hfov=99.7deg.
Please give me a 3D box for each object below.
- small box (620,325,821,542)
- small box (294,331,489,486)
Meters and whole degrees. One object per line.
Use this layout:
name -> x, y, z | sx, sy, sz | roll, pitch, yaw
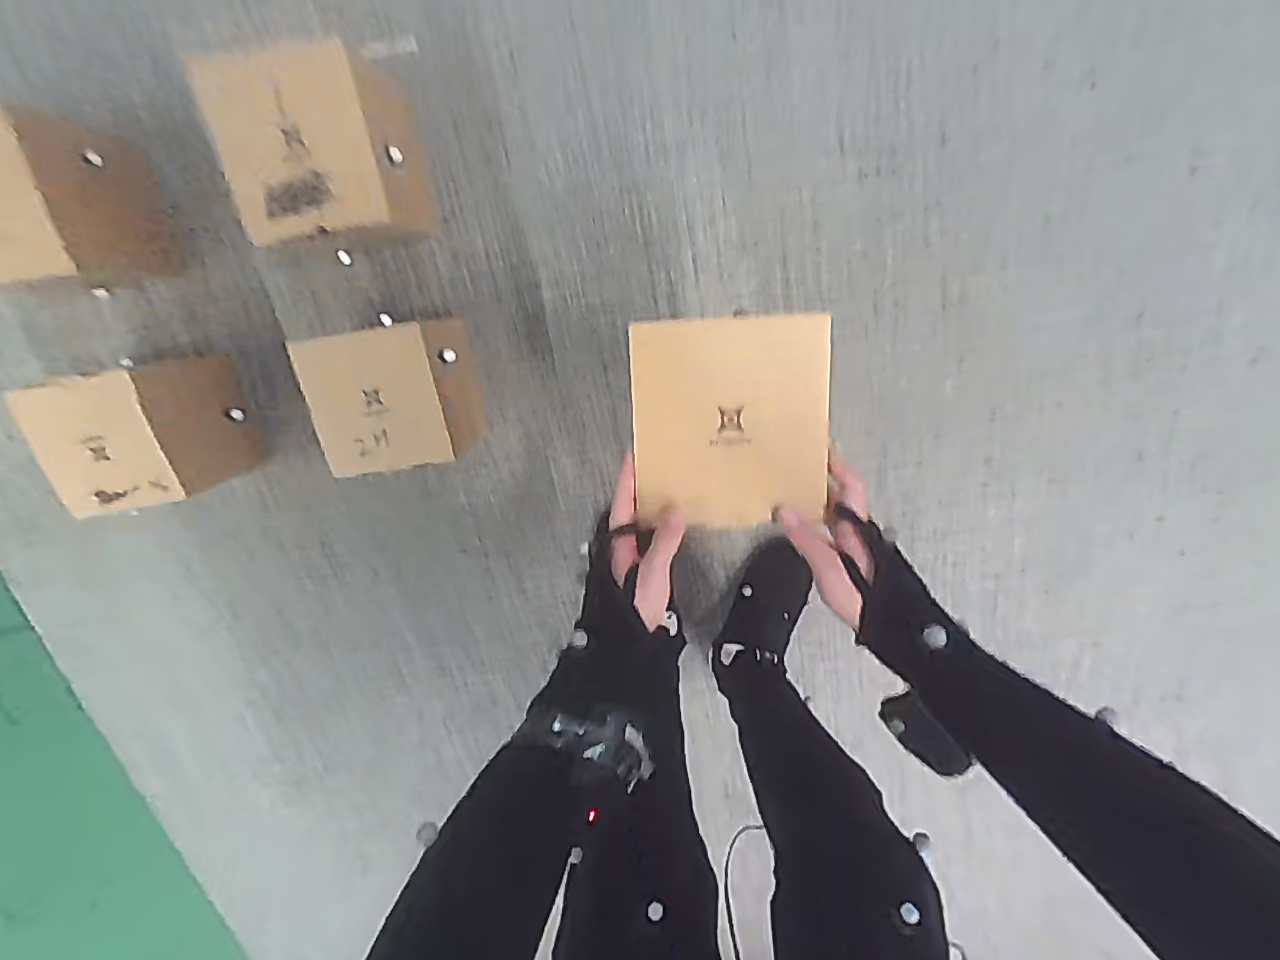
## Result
small box -> 0.068, -0.050, 0.526 | 0.168, 0.176, 0.179 | -3, 102, 2
small box -> -0.328, -0.108, 0.754 | 0.168, 0.176, 0.179 | -9, 108, 4
